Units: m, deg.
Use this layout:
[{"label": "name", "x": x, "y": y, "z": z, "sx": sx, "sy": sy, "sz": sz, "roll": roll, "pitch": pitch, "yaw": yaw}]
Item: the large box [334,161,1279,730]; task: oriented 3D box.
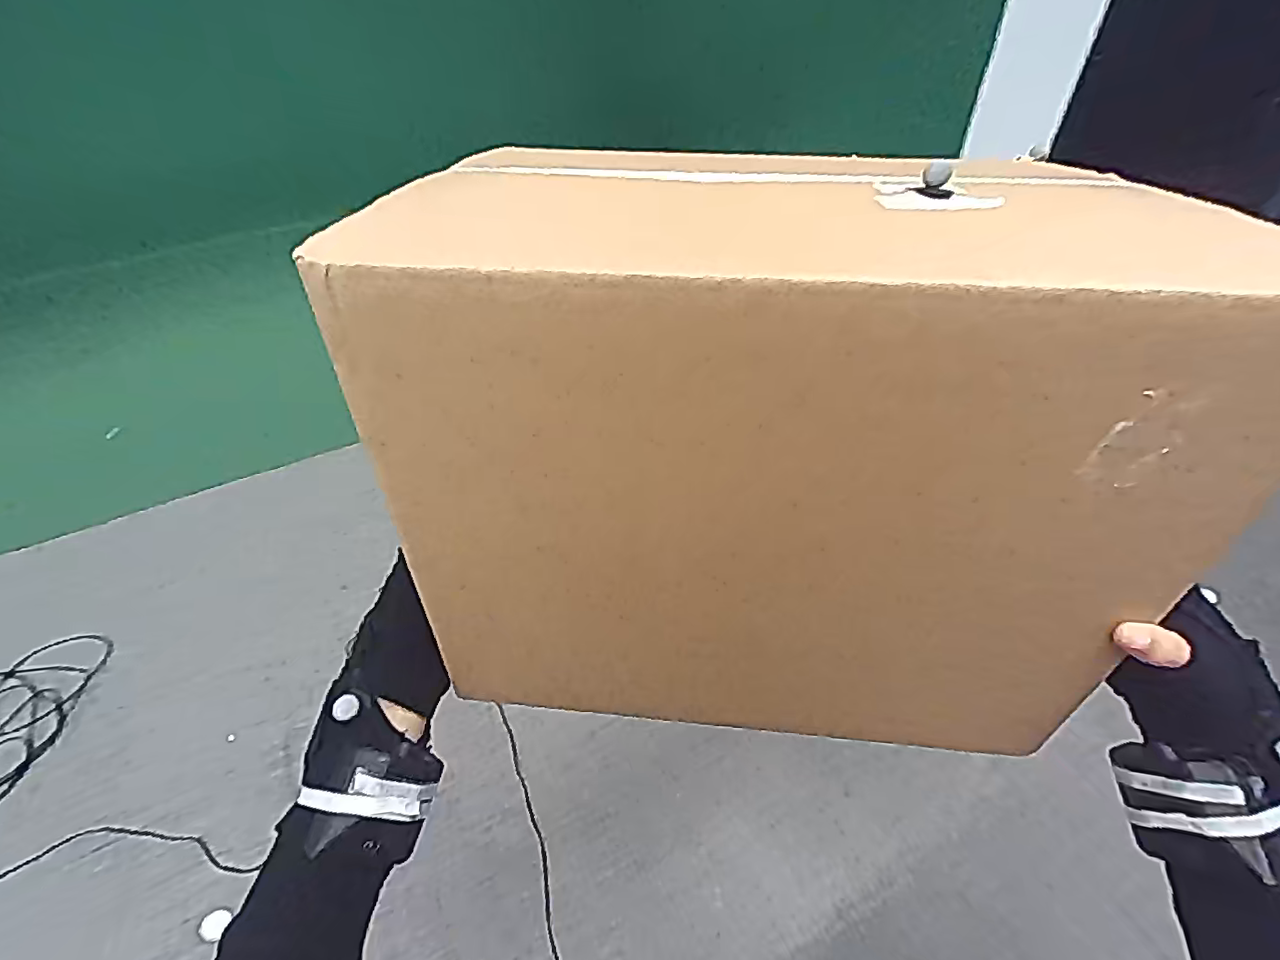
[{"label": "large box", "x": 0.078, "y": -0.043, "z": 0.415, "sx": 0.408, "sy": 0.320, "sz": 0.320, "roll": 4, "pitch": 39, "yaw": 4}]
